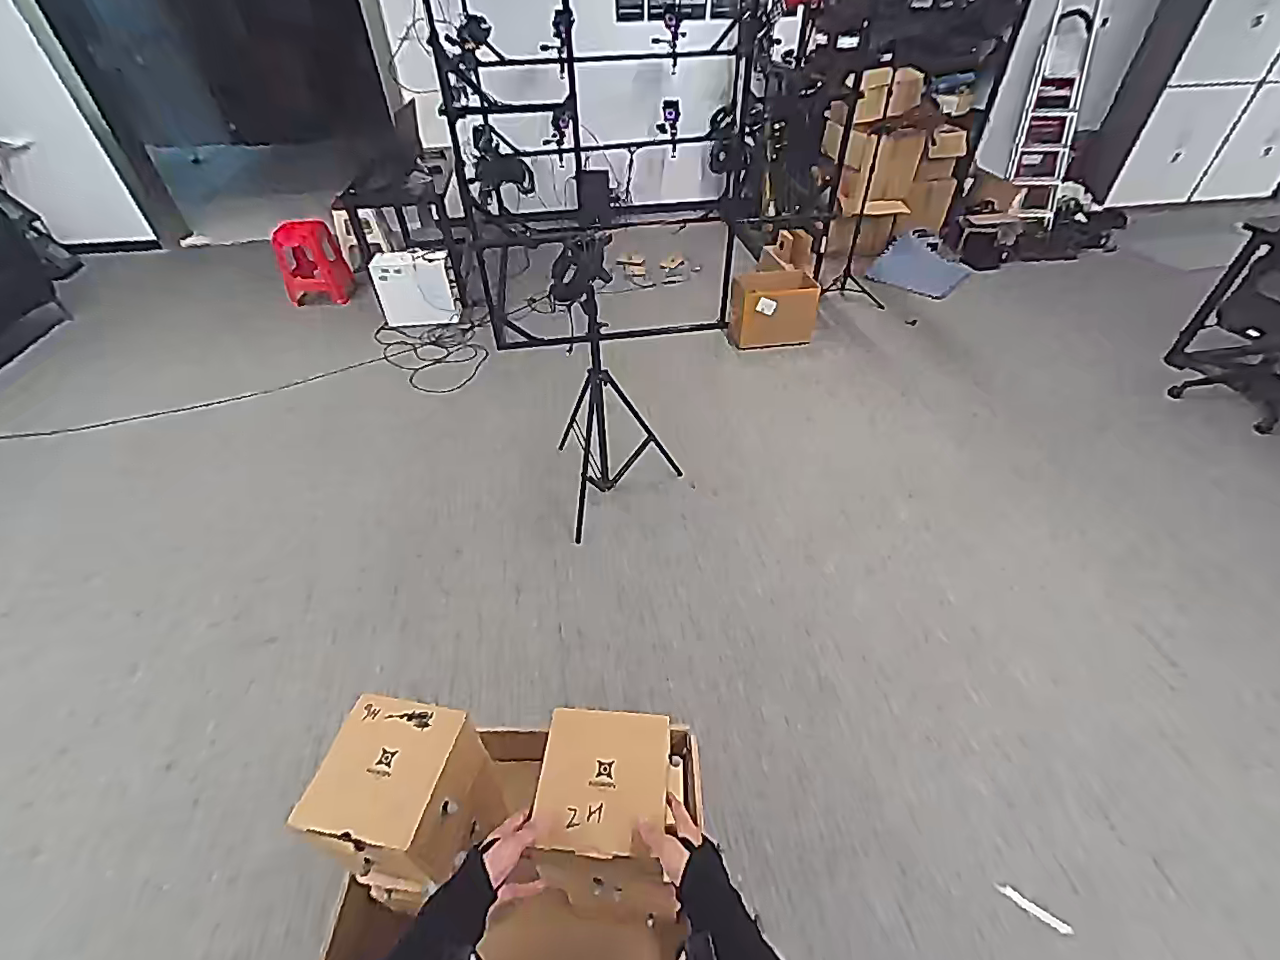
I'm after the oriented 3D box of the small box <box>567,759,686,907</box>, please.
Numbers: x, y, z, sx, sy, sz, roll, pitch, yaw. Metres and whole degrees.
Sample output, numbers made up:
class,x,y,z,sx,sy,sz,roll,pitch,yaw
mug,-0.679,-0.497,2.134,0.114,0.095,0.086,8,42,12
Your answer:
class,x,y,z,sx,sy,sz,roll,pitch,yaw
small box,-0.019,0.561,0.864,0.179,0.176,0.168,0,41,3

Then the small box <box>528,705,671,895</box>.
class,x,y,z,sx,sy,sz,roll,pitch,yaw
small box,-0.045,0.441,0.751,0.168,0.176,0.179,2,41,5

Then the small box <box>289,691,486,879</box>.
class,x,y,z,sx,sy,sz,roll,pitch,yaw
small box,-0.336,0.433,0.766,0.168,0.176,0.179,7,43,9

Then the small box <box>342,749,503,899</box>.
class,x,y,z,sx,sy,sz,roll,pitch,yaw
small box,-0.335,0.552,0.880,0.168,0.176,0.179,4,41,6
